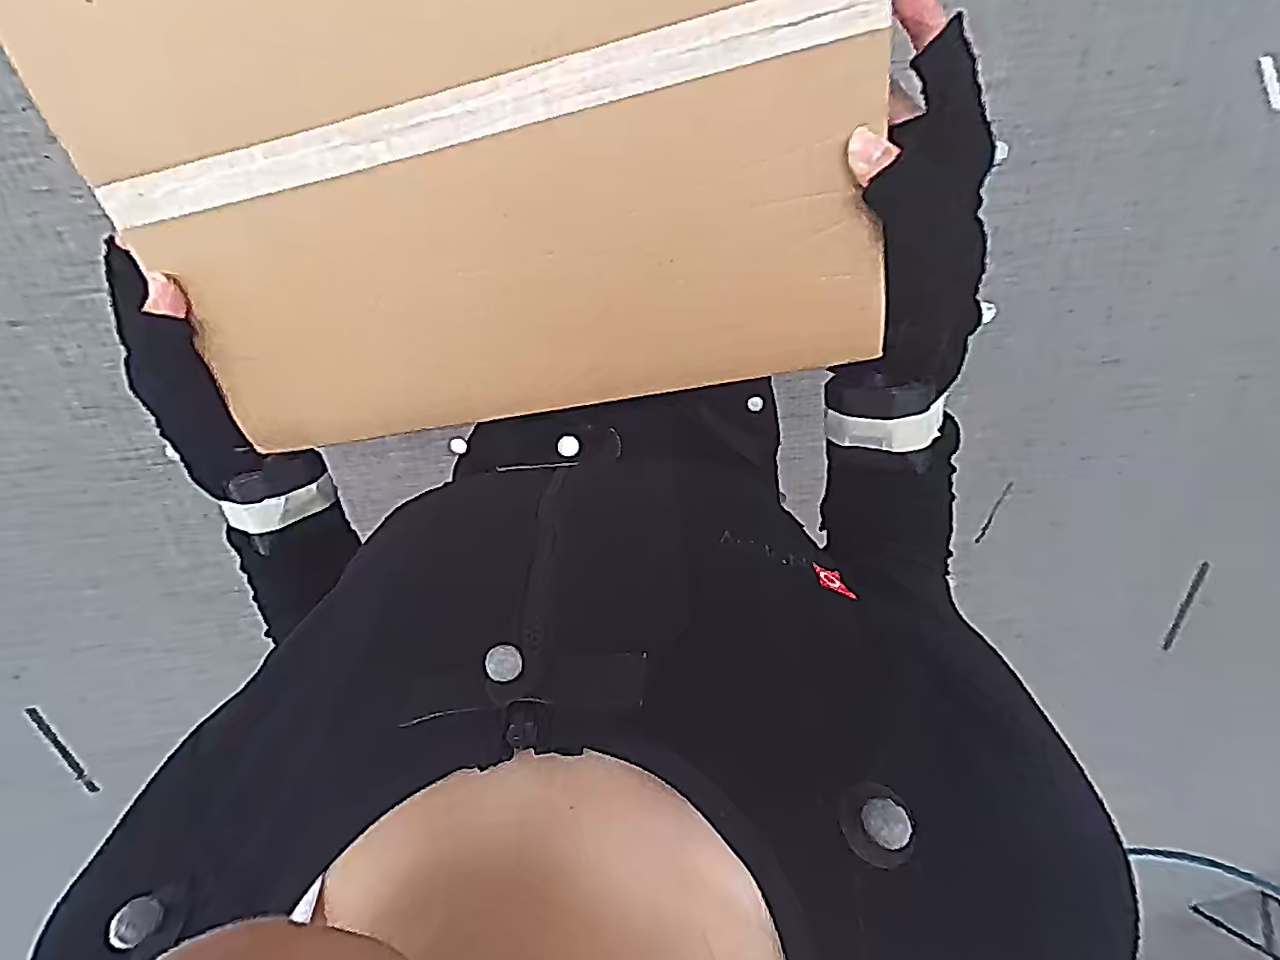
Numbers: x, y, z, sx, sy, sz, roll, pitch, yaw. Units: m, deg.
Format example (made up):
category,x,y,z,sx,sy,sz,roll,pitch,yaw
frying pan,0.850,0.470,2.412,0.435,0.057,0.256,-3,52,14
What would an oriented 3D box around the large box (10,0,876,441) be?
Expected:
category,x,y,z,sx,sy,sz,roll,pitch,yaw
large box,-0.076,-0.259,0.396,0.408,0.320,0.320,-7,119,10
